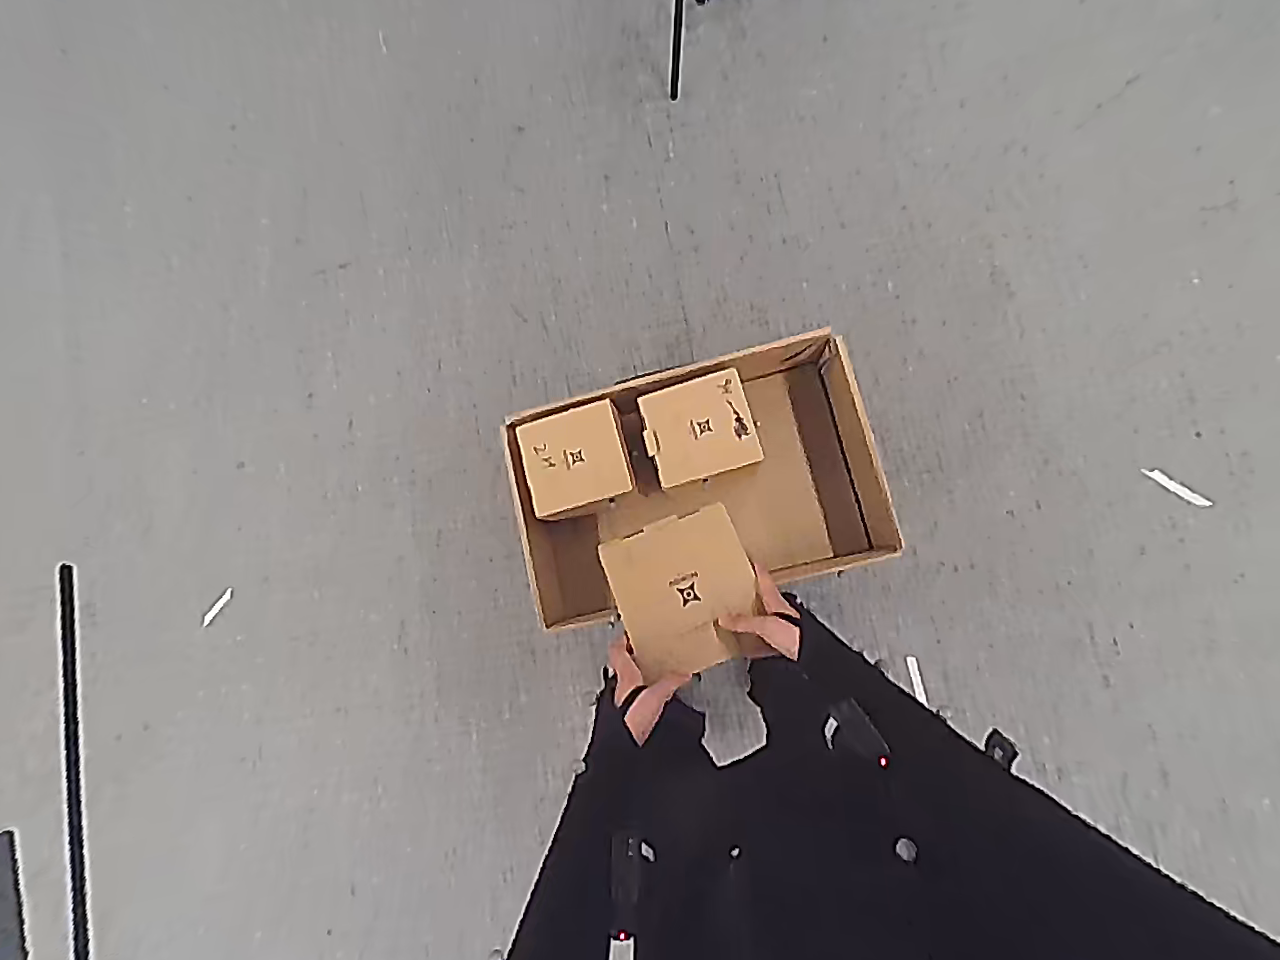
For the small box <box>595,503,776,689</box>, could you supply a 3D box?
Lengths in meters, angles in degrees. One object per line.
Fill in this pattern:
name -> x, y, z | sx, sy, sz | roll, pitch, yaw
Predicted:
small box -> 0.050, 0.155, 0.702 | 0.168, 0.176, 0.179 | -20, 72, -6
